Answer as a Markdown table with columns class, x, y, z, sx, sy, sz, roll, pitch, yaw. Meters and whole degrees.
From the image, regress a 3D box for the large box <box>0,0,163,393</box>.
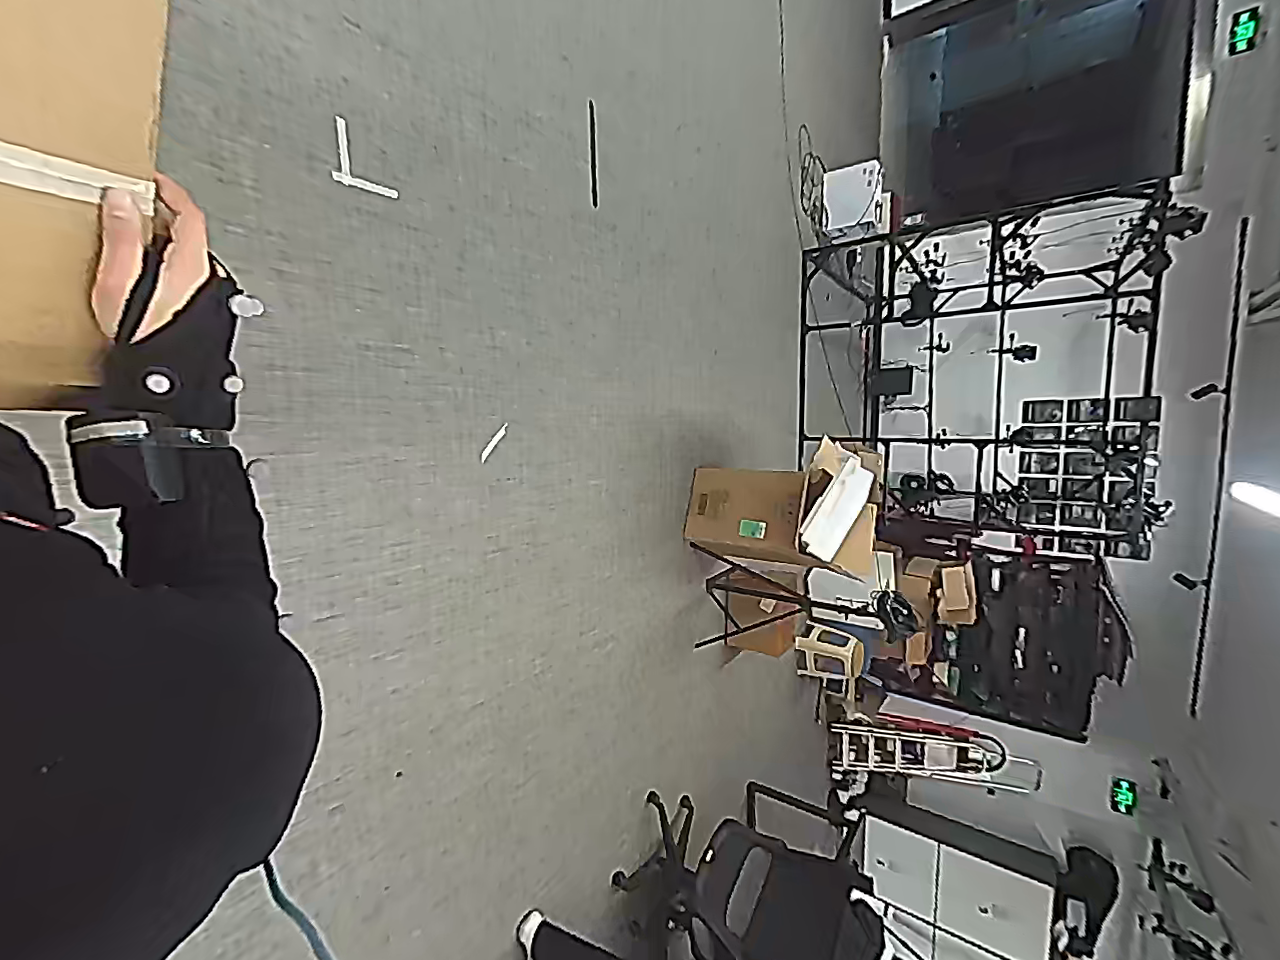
| class | x | y | z | sx | sy | sz | roll | pitch | yaw |
| --- | --- | --- | --- | --- | --- | --- | --- | --- | --- |
| large box | -0.536 | -0.254 | 0.250 | 0.408 | 0.320 | 0.320 | -9 | 135 | -55 |
